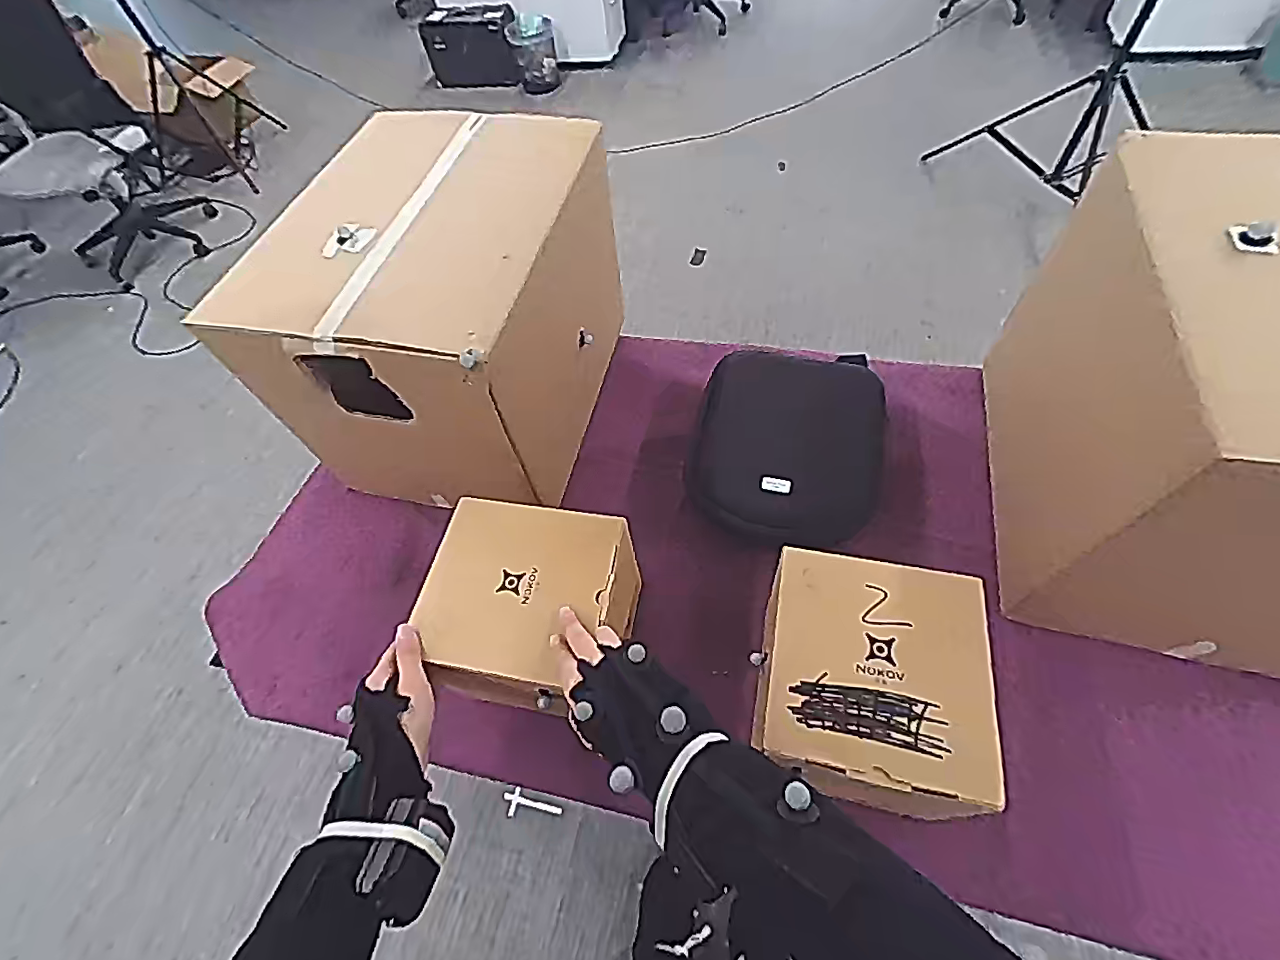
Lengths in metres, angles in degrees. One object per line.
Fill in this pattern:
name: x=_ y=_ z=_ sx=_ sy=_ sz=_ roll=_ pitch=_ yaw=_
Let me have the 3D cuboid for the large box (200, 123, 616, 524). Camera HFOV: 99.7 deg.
large box: x=-0.230 y=-0.202 z=0.719 sx=0.320 sy=0.320 sz=0.408 roll=8 pitch=60 yaw=10
